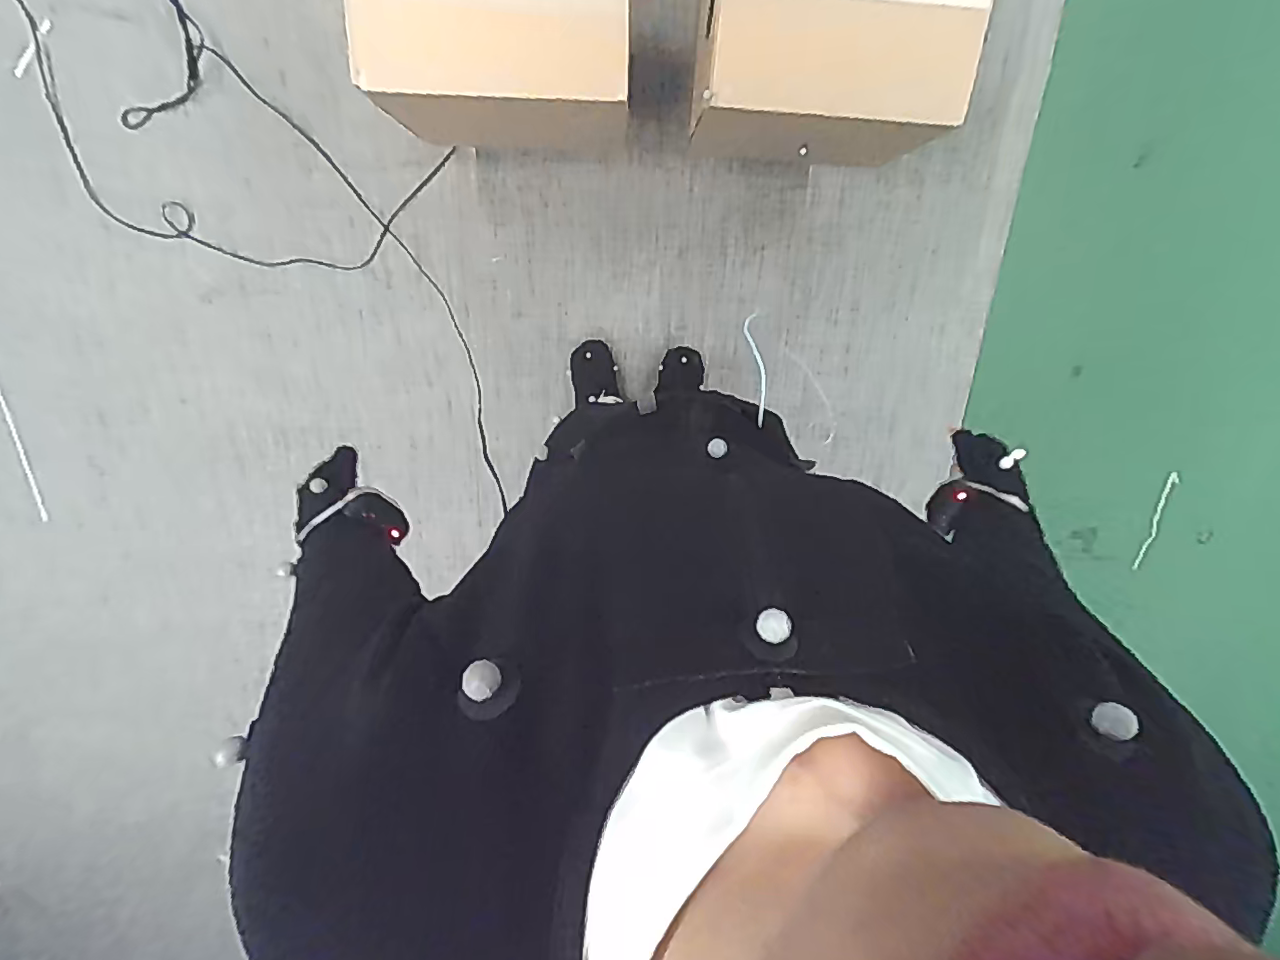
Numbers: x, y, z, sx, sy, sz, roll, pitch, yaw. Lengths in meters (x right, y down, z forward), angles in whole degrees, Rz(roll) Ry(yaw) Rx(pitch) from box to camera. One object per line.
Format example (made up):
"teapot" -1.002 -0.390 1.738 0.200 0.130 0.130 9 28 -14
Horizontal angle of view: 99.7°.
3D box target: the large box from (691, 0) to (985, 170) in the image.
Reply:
"large box" 0.316 -0.756 0.951 0.408 0.320 0.320 3 108 -2
